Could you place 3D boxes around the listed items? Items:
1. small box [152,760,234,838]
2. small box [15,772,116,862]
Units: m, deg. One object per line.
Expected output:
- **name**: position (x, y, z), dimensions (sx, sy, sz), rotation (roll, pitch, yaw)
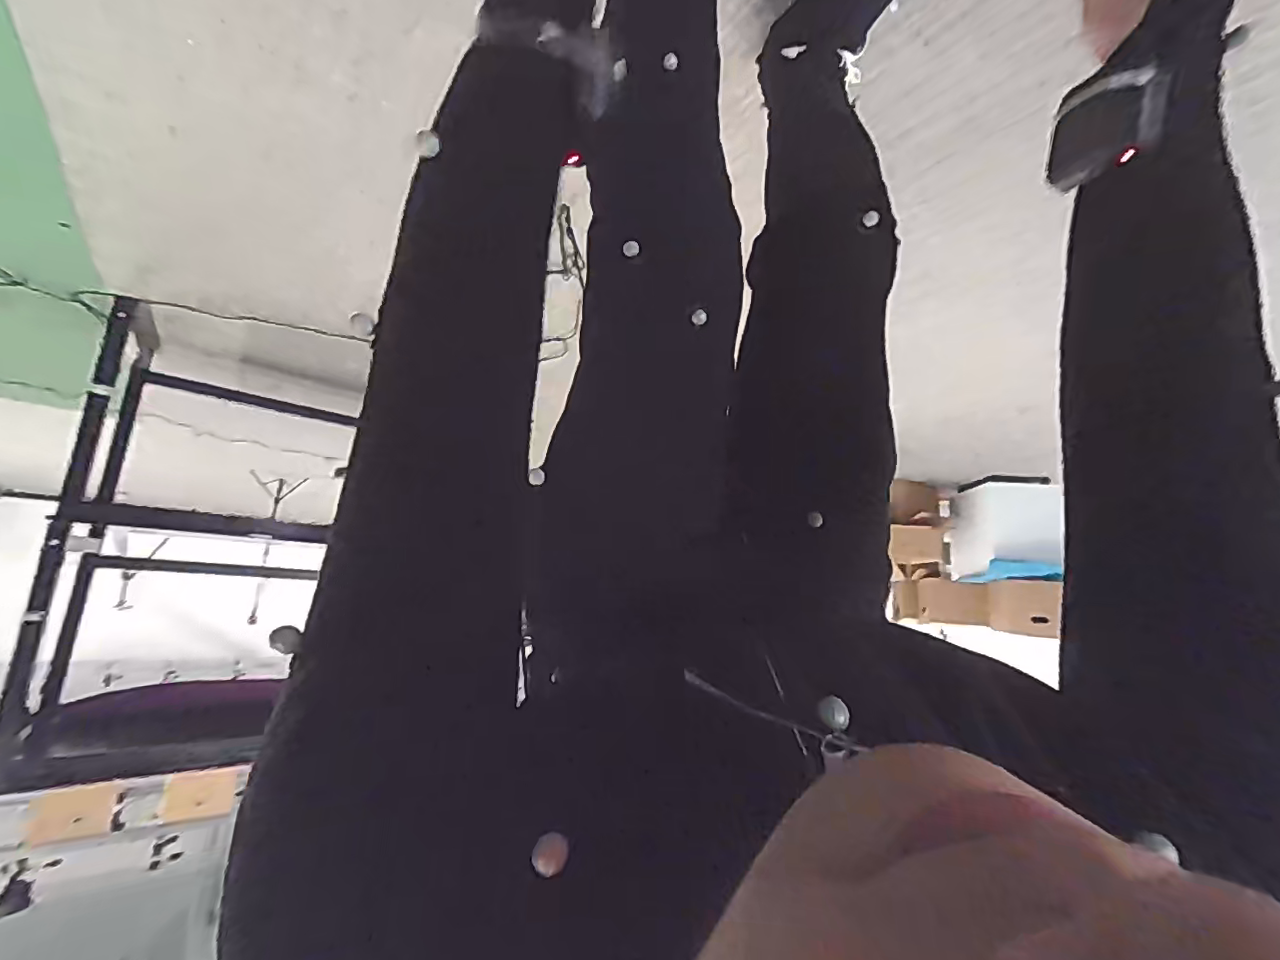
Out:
- **small box**: position (-1.459, 1.032, 1.769), dimensions (0.179, 0.176, 0.168), rotation (12, 166, -37)
- **small box**: position (-1.680, 0.978, 1.592), dimensions (0.179, 0.176, 0.168), rotation (14, 163, -40)
